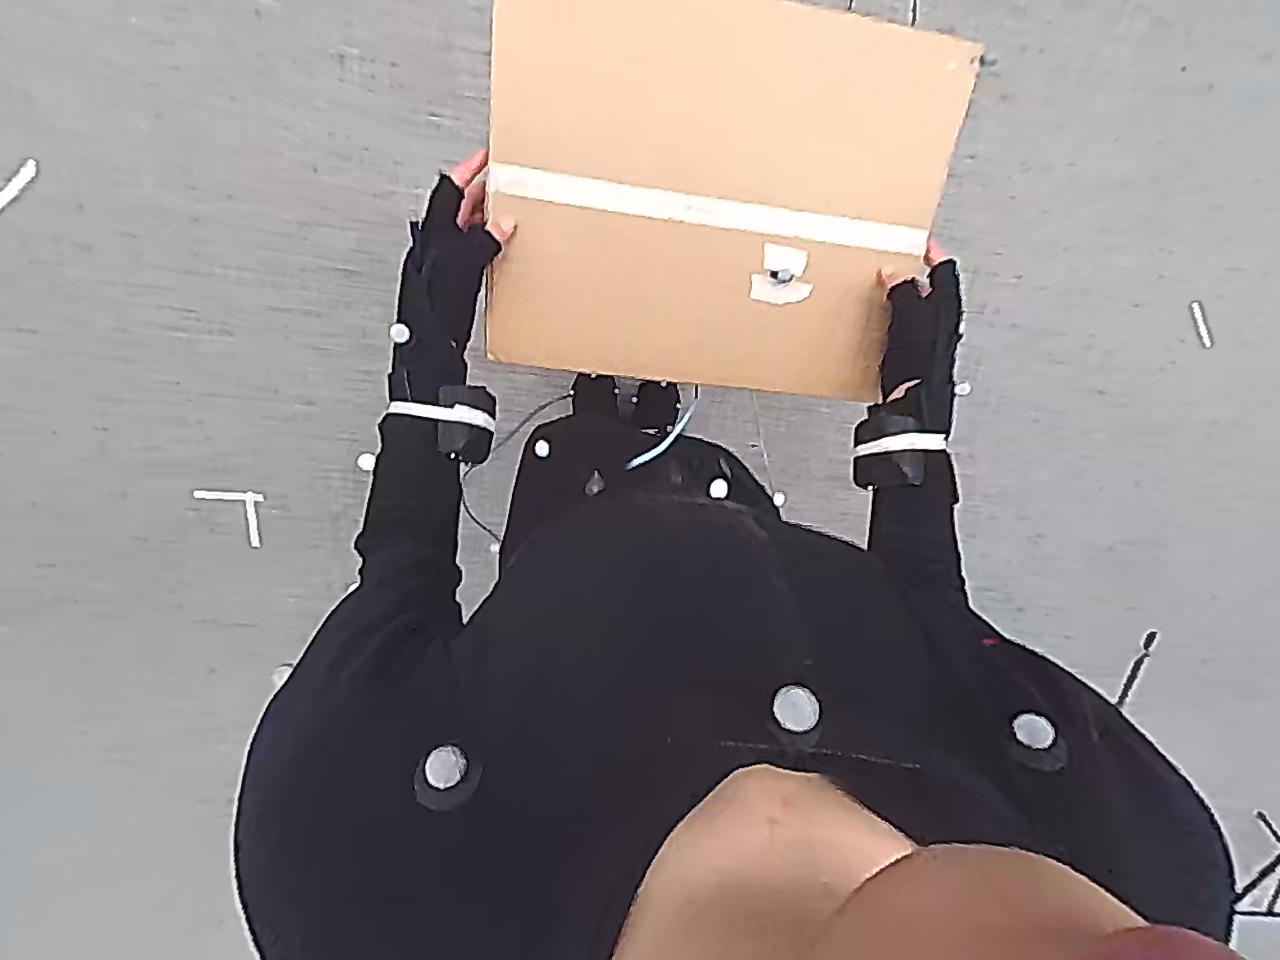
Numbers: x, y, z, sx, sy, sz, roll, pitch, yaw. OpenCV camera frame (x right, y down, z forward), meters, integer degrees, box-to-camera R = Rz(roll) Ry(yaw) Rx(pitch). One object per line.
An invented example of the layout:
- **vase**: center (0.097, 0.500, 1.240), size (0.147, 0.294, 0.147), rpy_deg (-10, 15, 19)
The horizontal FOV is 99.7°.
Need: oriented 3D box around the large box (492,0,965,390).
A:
- **large box**: center (0.050, -0.305, 0.626), size (0.408, 0.320, 0.320), rpy_deg (4, 113, -10)
